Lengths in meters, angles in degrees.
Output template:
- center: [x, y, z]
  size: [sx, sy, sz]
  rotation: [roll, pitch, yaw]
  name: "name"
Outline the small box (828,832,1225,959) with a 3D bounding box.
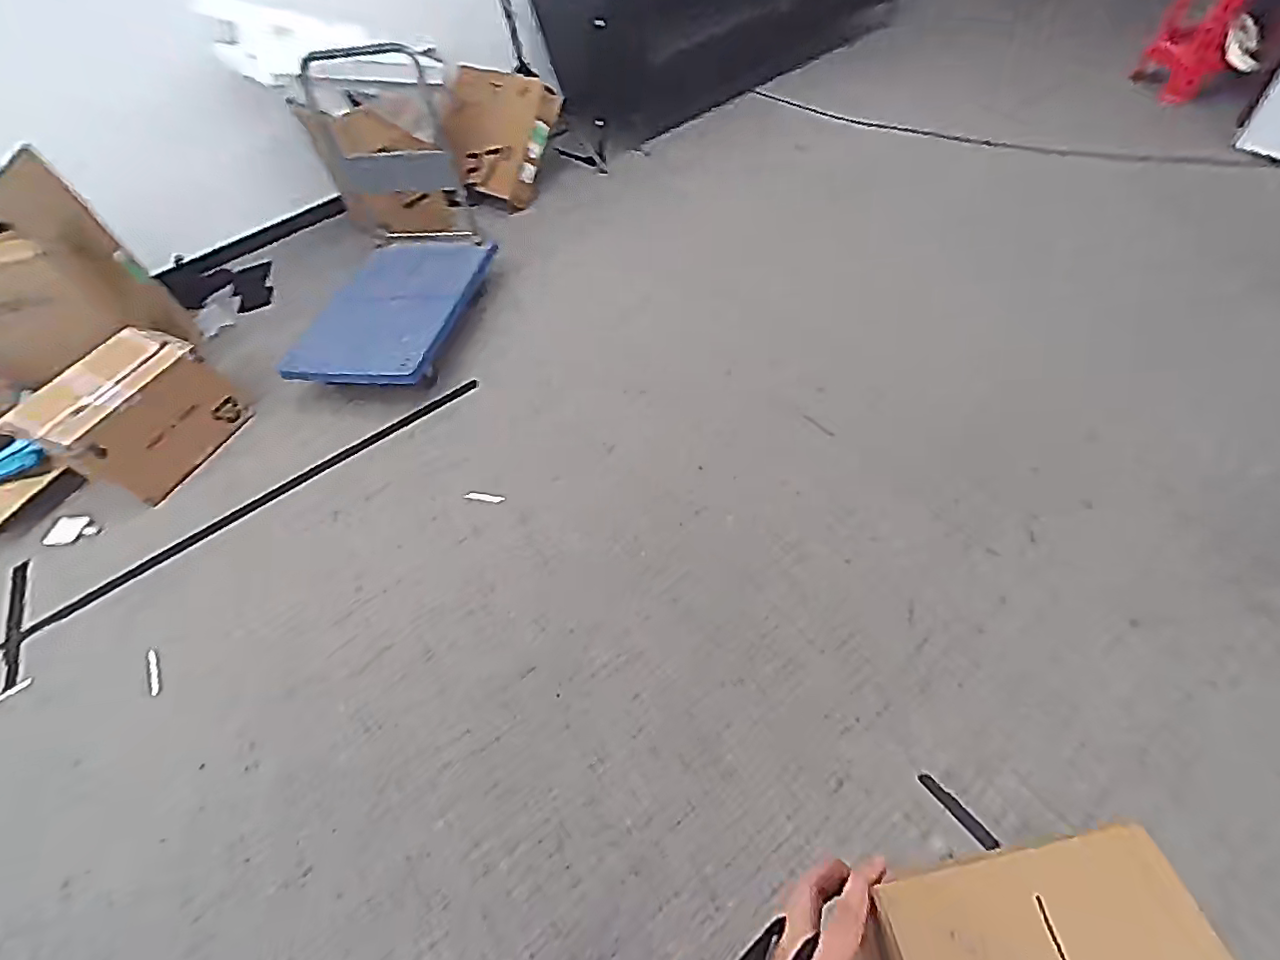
- center: [0.232, 0.334, 0.321]
  size: [0.168, 0.176, 0.179]
  rotation: [-11, 51, -3]
  name: "small box"
